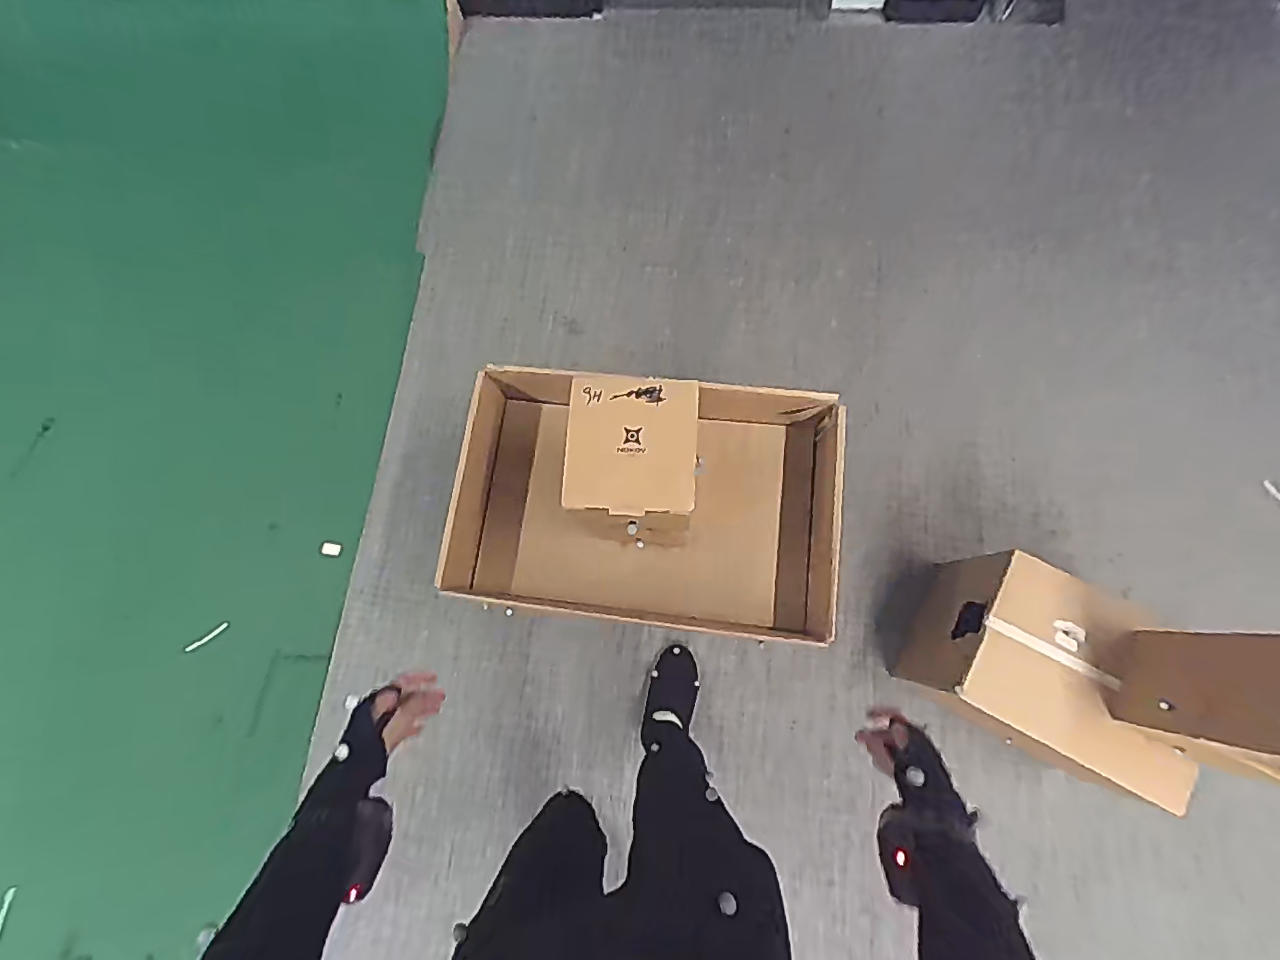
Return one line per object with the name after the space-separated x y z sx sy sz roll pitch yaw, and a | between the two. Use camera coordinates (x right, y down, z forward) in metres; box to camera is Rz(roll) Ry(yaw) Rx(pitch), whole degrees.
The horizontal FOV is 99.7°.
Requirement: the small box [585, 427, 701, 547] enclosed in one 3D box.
0.010 0.010 0.911 0.168 0.176 0.179 5 77 5 | small box

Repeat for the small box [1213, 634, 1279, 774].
0.937 0.318 0.720 0.168 0.176 0.179 24 79 9 | small box

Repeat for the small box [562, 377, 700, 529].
-0.004 -0.028 0.752 0.168 0.176 0.179 3 78 4 | small box
